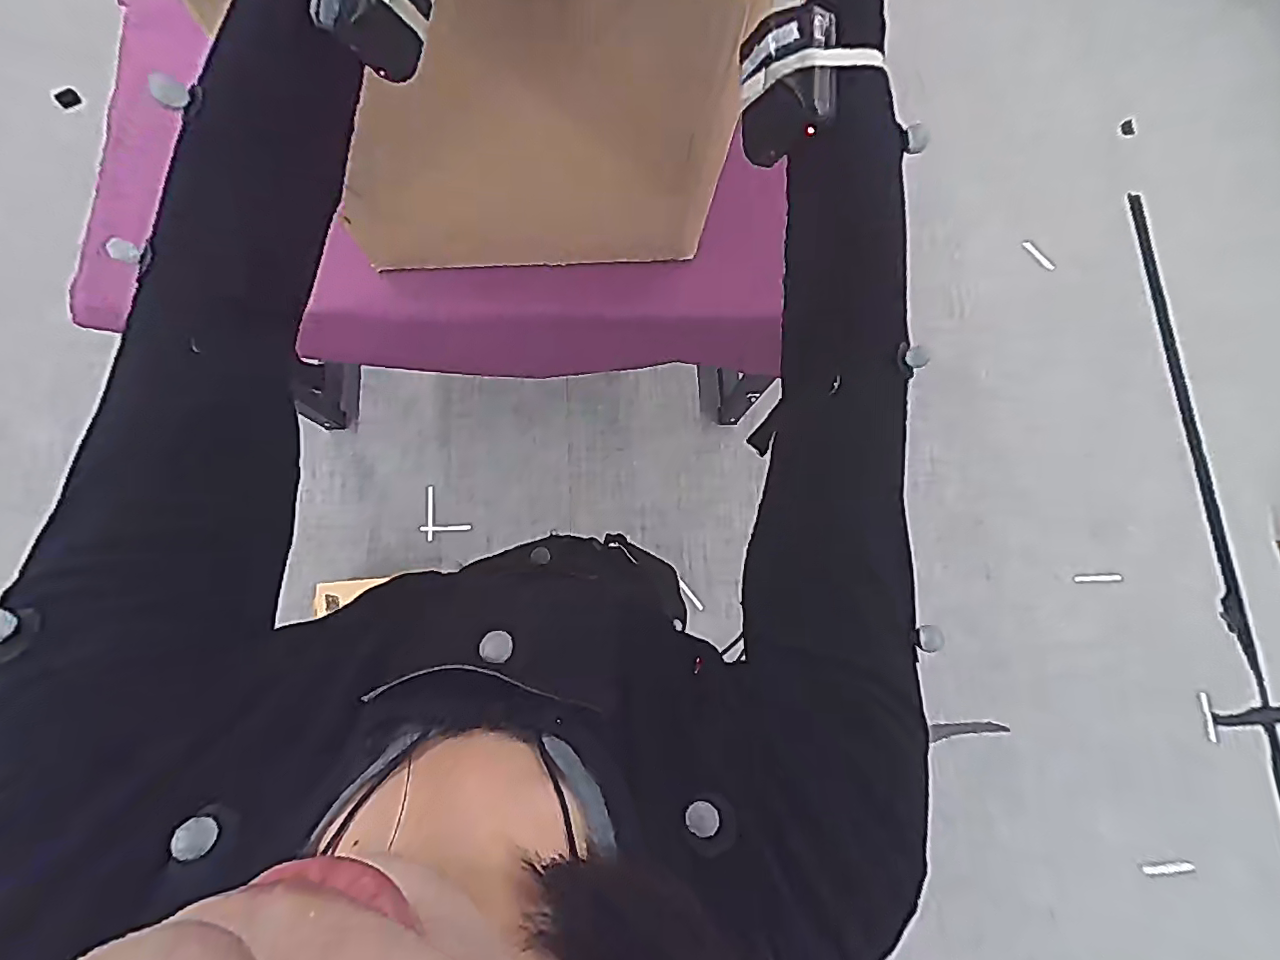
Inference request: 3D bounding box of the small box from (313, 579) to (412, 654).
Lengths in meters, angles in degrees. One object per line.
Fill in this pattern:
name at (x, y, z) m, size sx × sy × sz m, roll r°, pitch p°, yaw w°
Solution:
small box at (-0.692, 0.340, 1.364) m, size 0.179 × 0.176 × 0.168 m, roll -4°, pitch 80°, yaw -7°
